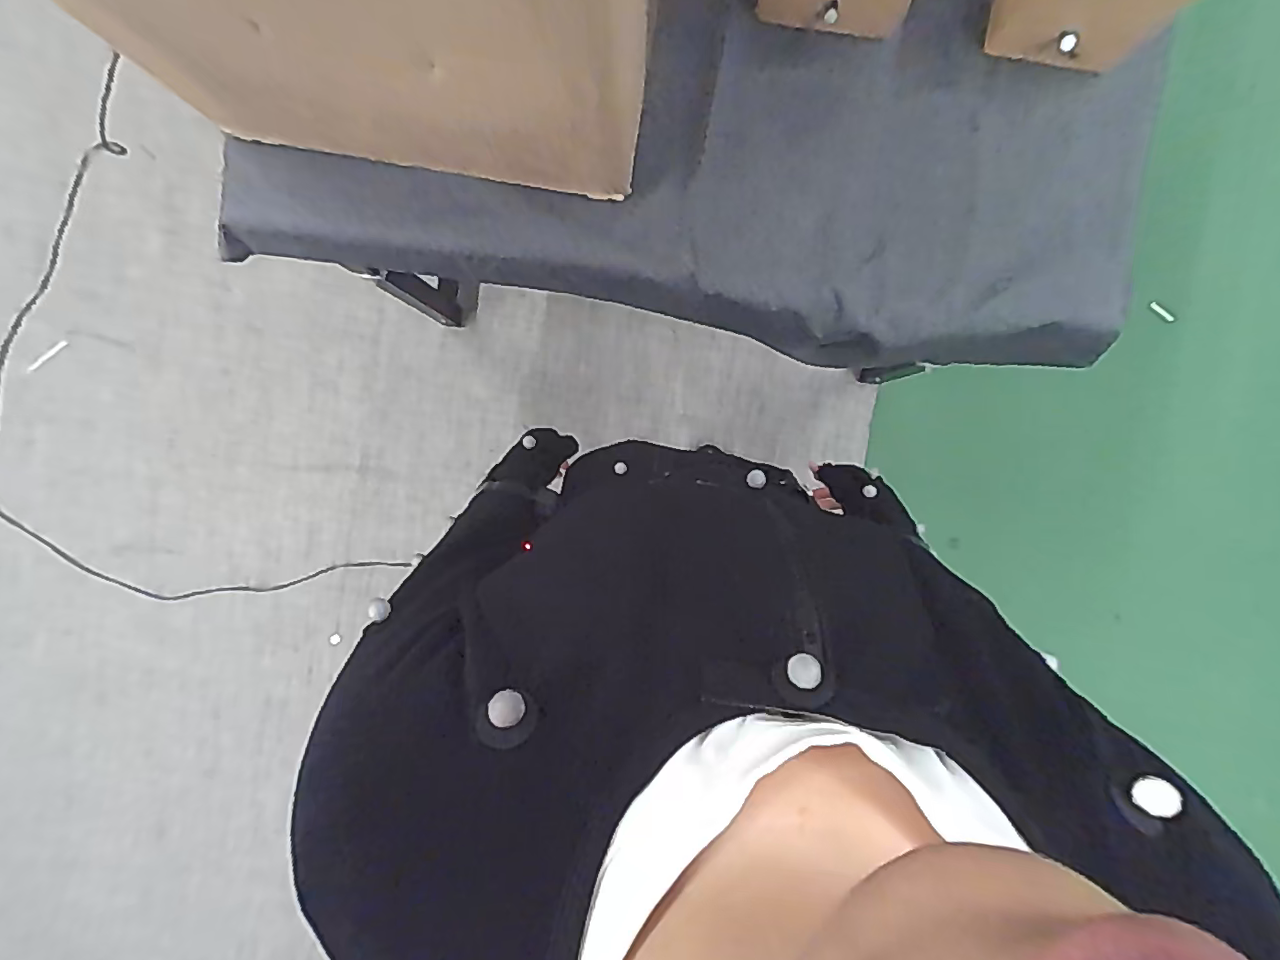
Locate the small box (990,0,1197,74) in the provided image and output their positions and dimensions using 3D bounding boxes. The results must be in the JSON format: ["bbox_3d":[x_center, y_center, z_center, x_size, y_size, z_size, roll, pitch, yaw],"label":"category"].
[{"bbox_3d":[0.540,-0.620,0.616,0.168,0.176,0.179,11,95,0],"label":"small box"}]
